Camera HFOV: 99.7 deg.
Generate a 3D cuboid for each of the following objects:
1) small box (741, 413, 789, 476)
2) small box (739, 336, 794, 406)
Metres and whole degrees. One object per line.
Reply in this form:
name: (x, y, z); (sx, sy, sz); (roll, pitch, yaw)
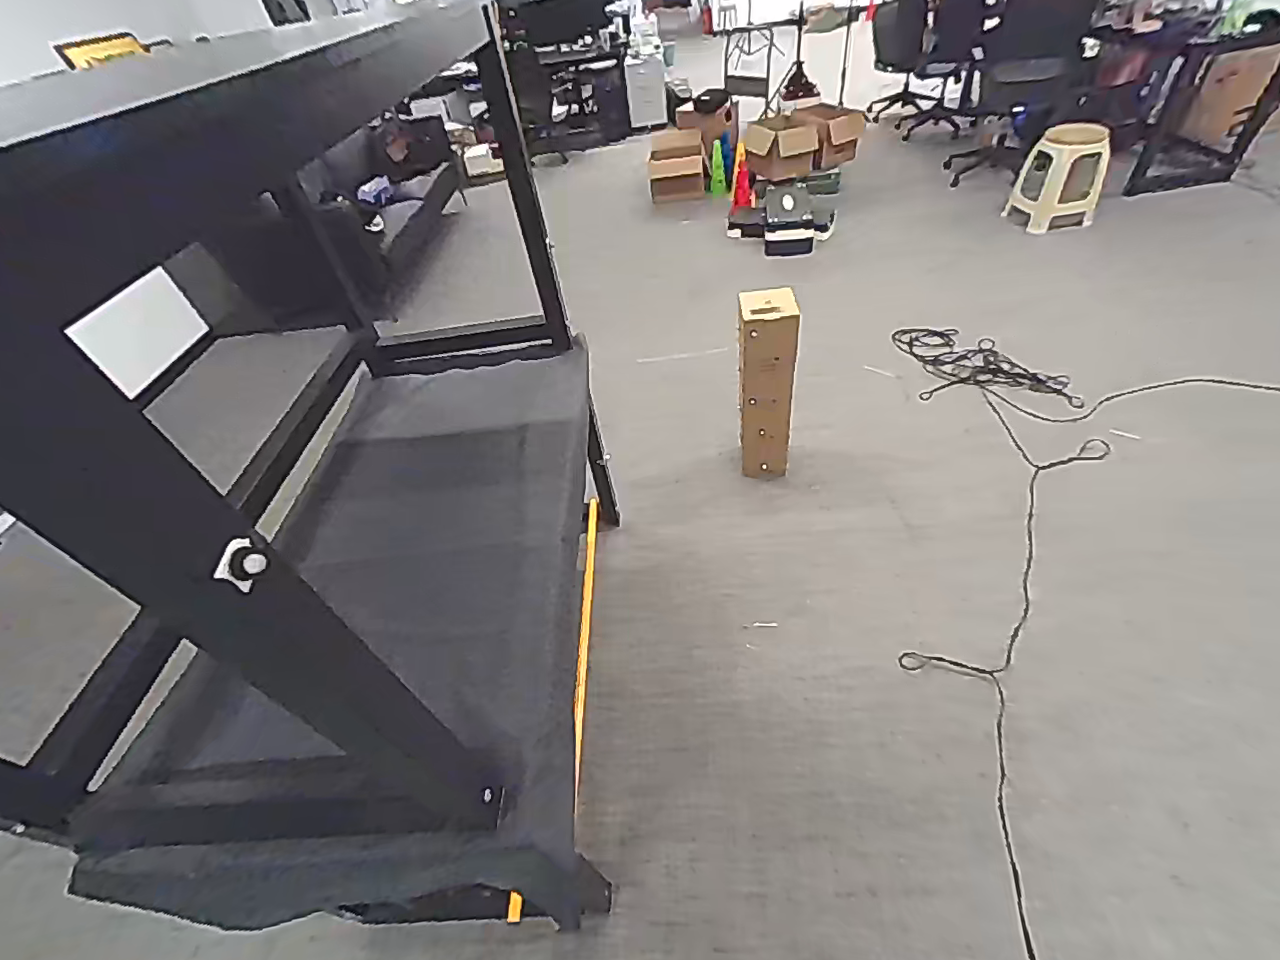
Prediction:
small box: (0.471, -0.133, 2.059); (0.168, 0.176, 0.179); (-2, 46, 10)
small box: (0.424, -0.363, 1.831); (0.168, 0.176, 0.179); (-3, 45, 8)
